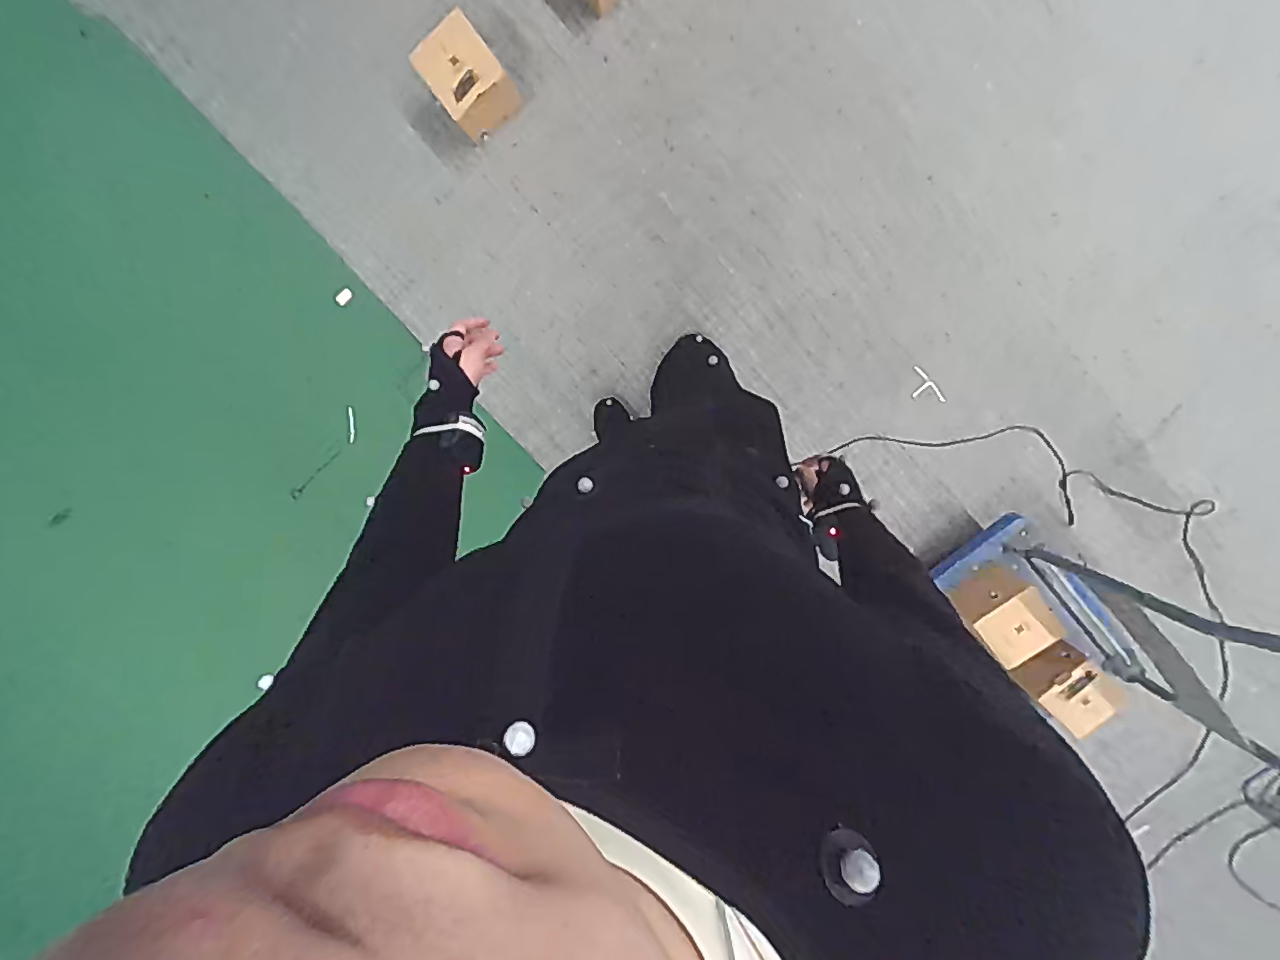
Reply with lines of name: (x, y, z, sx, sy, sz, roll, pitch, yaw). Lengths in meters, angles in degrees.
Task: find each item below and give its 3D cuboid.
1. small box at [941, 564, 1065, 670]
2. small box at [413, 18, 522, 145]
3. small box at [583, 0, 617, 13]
small box: (0.941, 0.350, 1.418, 0.179, 0.176, 0.168, -39, 98, 10)
small box: (-0.424, -0.987, 1.366, 0.168, 0.176, 0.179, -37, 98, 8)
small box: (-0.098, -1.263, 1.274, 0.168, 0.176, 0.179, -40, 99, 10)
